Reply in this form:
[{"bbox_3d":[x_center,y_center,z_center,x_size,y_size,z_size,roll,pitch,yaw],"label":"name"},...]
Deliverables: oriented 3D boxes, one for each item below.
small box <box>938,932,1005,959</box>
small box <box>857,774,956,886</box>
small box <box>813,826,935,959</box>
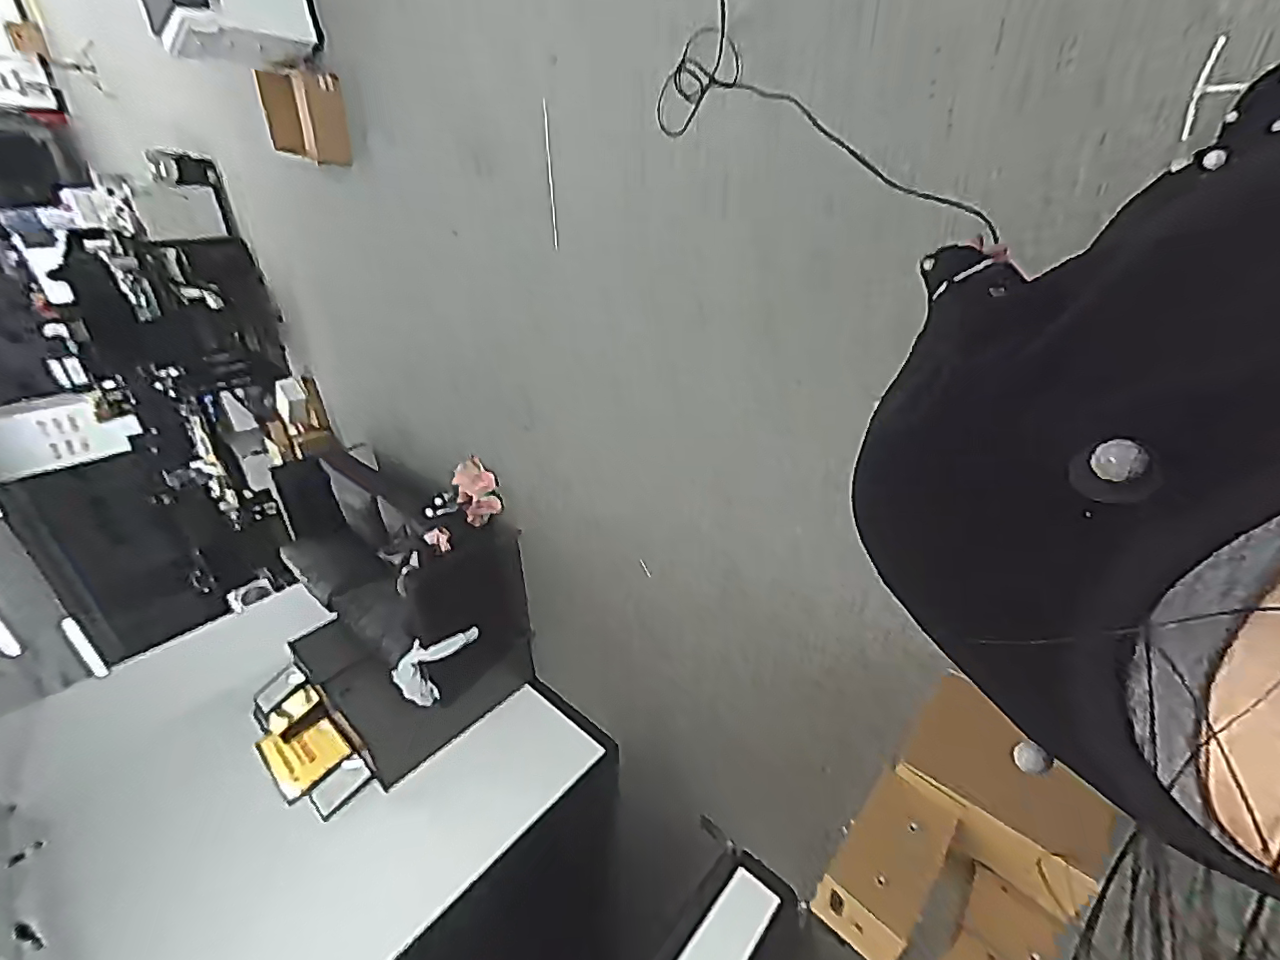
[{"bbox_3d":[0.702,1.098,1.112,0.168,0.176,0.179,28,128,31],"label":"small box"},{"bbox_3d":[0.631,0.859,1.304,0.179,0.176,0.168,26,126,34],"label":"small box"},{"bbox_3d":[0.517,0.915,1.200,0.179,0.176,0.168,28,128,34],"label":"small box"}]
